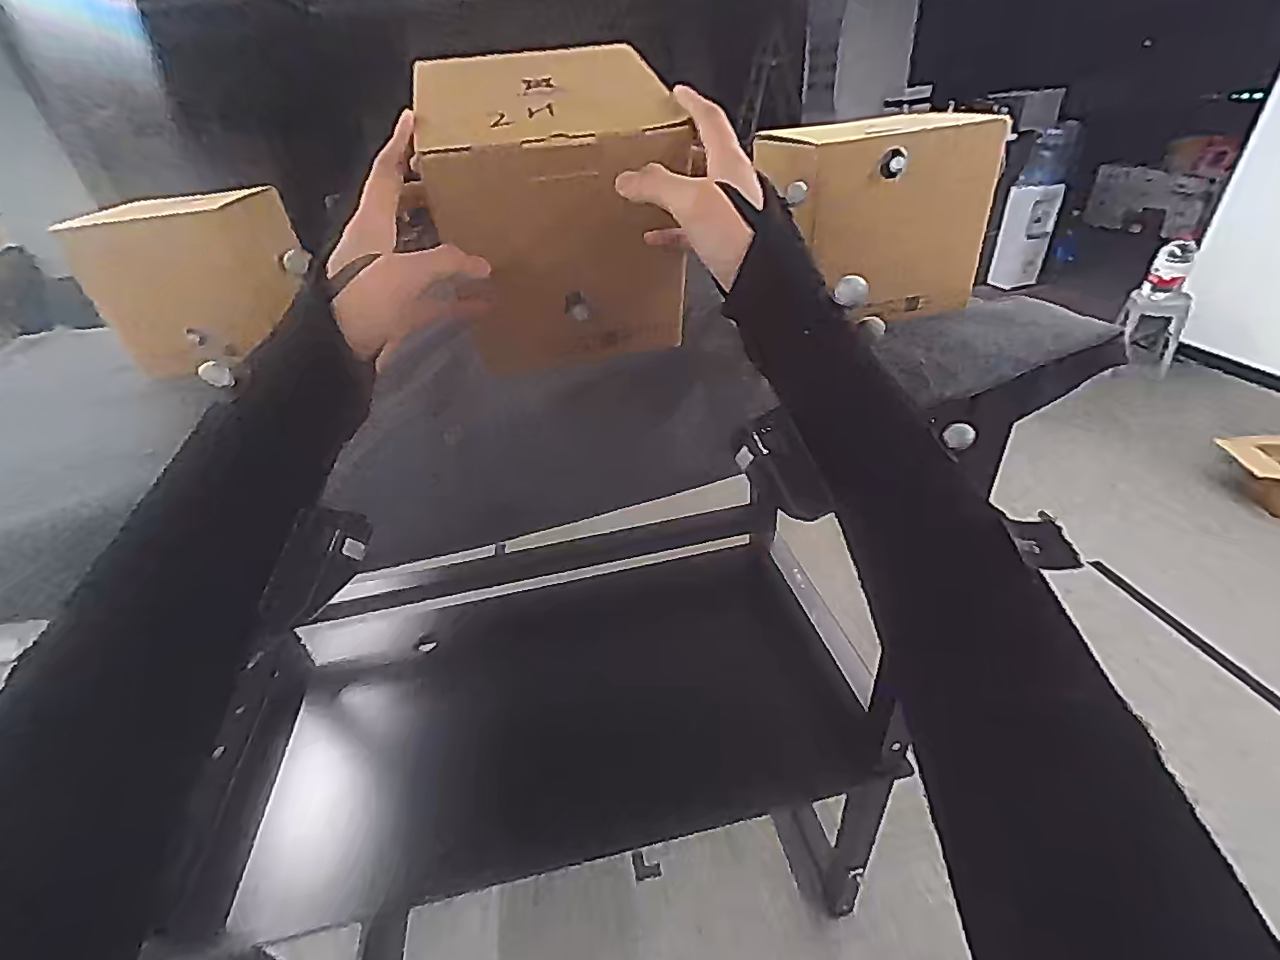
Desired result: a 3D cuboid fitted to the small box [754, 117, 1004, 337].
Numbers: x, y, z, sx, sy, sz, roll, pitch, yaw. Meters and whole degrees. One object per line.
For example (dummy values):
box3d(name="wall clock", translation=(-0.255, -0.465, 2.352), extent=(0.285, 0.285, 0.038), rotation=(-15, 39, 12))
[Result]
box3d(name="small box", translation=(0.217, -0.258, 0.552), extent=(0.168, 0.176, 0.179), rotation=(-10, 34, -2))

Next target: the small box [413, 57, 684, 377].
box3d(name="small box", translation=(-0.070, -0.210, 0.435), extent=(0.168, 0.176, 0.179), rotation=(-12, 53, -8))
